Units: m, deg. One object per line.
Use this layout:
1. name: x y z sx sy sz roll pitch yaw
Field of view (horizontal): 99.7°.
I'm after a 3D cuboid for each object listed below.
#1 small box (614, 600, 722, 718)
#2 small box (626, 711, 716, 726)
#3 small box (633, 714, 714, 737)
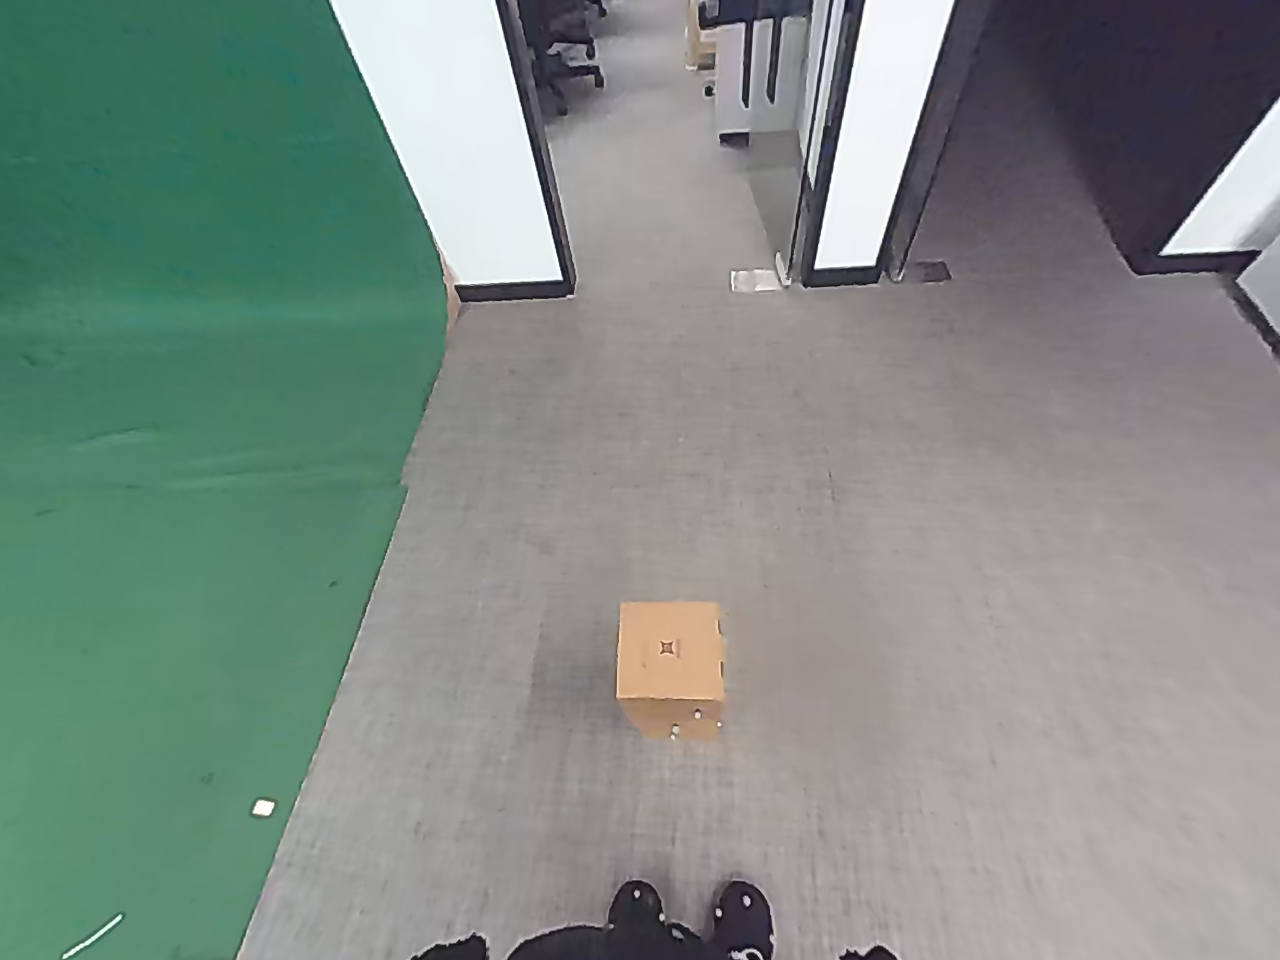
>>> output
1. small box: 0.055 0.326 0.978 0.179 0.176 0.168 -3 55 6
2. small box: 0.064 0.406 1.121 0.179 0.176 0.168 -2 56 5
3. small box: 0.082 0.494 1.257 0.179 0.176 0.168 -1 56 7
